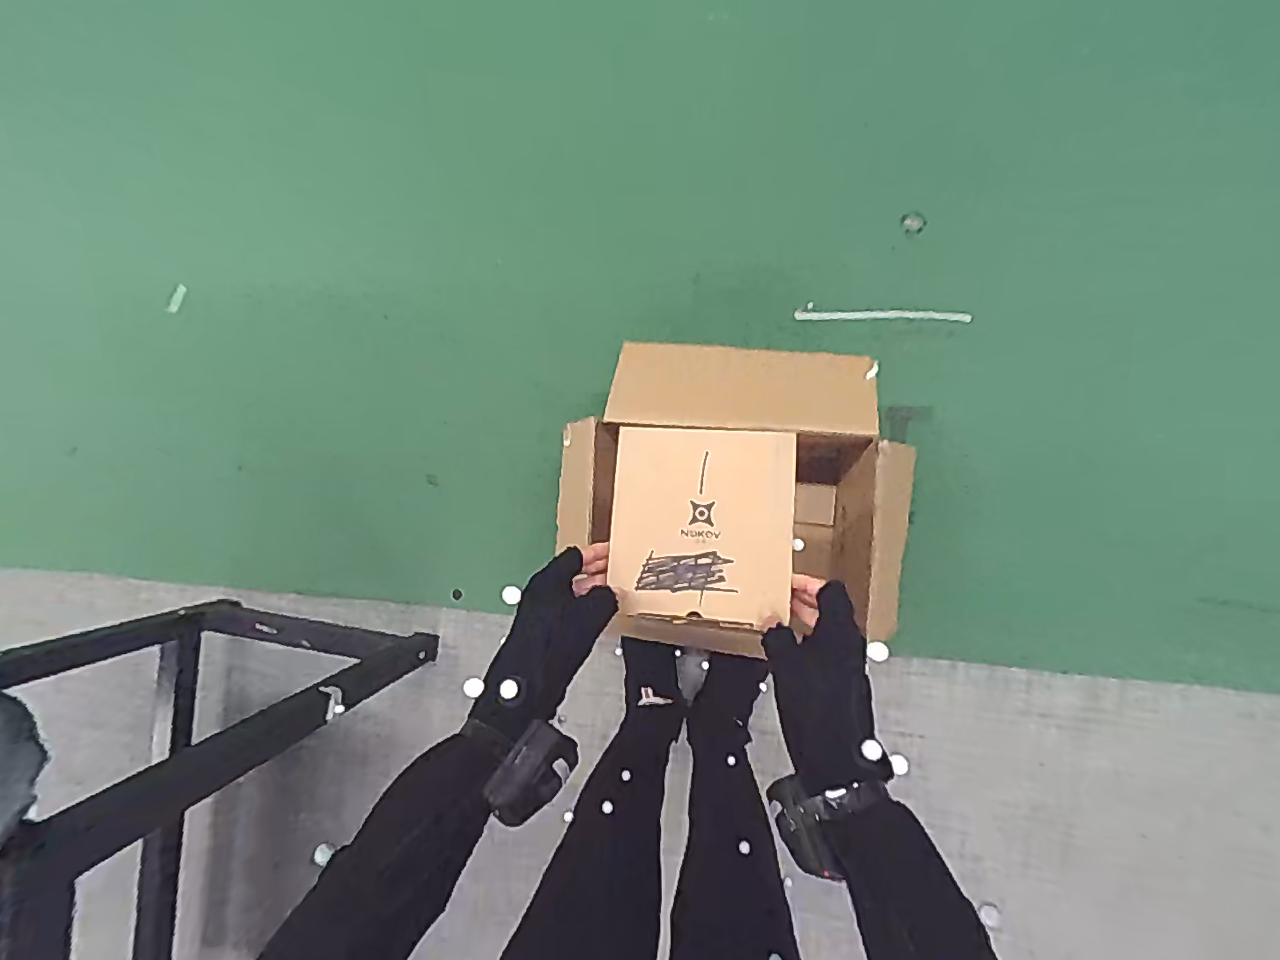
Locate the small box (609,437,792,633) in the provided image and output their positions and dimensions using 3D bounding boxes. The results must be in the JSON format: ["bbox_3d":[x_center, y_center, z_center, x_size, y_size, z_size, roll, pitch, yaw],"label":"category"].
[{"bbox_3d":[0.072,0.059,0.582,0.168,0.176,0.179,2,80,11],"label":"small box"}]
